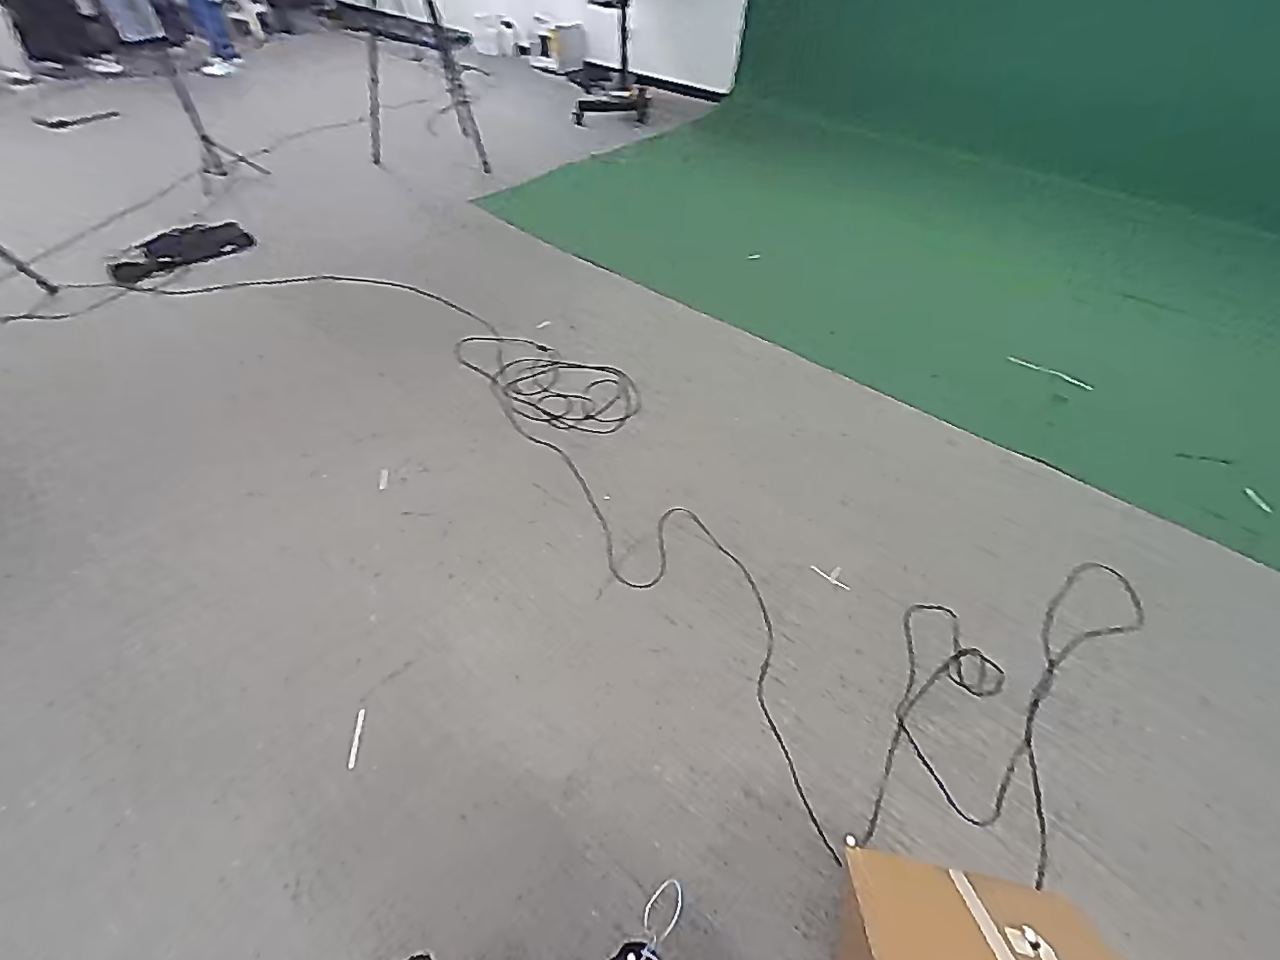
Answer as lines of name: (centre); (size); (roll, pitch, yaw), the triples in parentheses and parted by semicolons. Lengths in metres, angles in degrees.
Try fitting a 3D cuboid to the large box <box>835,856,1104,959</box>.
large box: (0.409, 0.740, 0.615); (0.320, 0.408, 0.320); (8, 88, 12)
